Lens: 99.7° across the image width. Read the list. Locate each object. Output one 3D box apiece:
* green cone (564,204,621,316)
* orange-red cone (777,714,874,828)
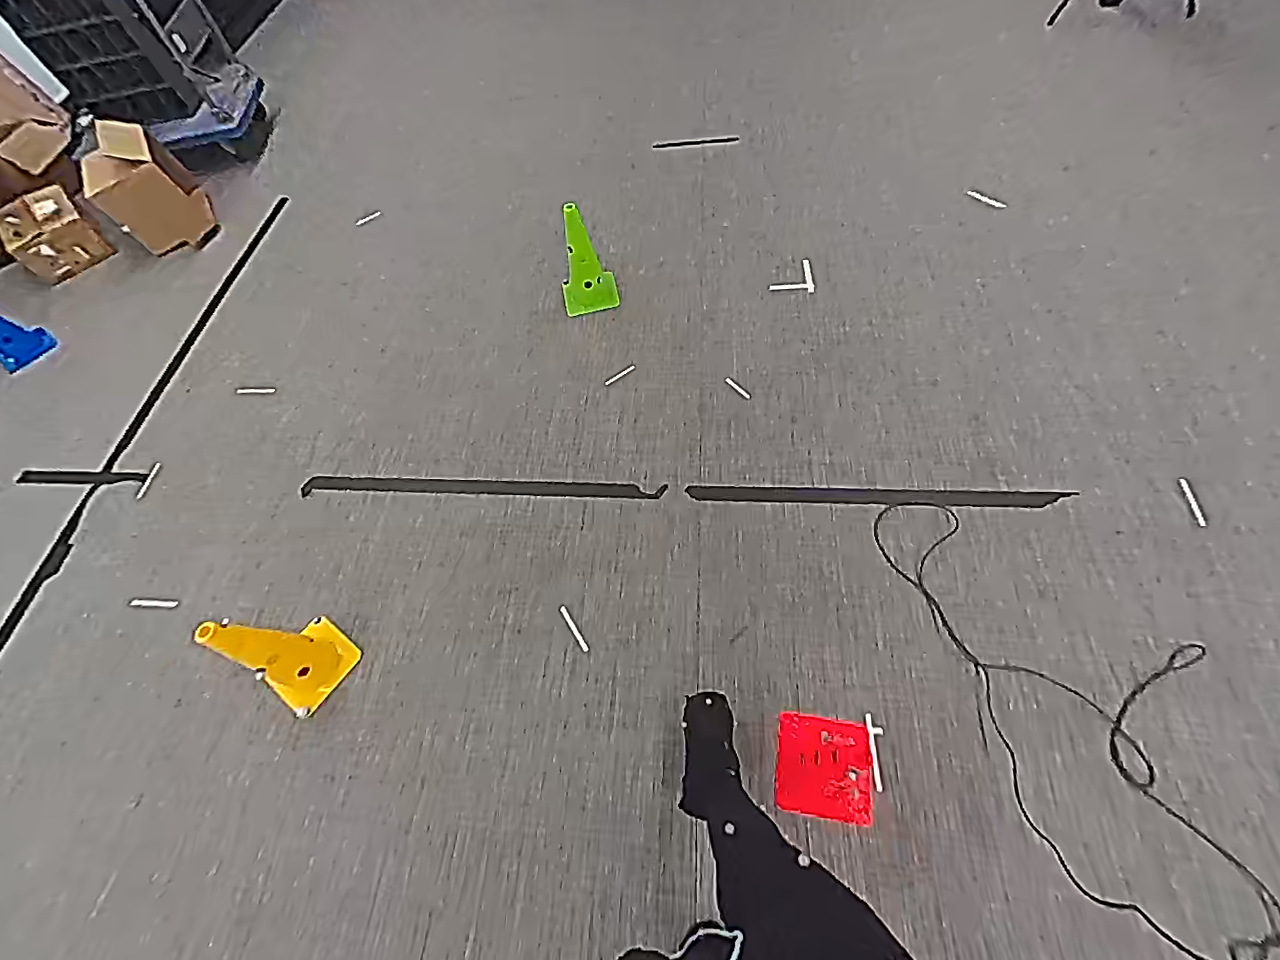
[{"bbox_3d":[-0.200,-0.787,1.902,0.202,0.368,0.200,-13,59,-1],"label":"green cone"},{"bbox_3d":[0.382,0.540,1.034,0.199,0.360,0.198,6,60,13],"label":"orange-red cone"}]
